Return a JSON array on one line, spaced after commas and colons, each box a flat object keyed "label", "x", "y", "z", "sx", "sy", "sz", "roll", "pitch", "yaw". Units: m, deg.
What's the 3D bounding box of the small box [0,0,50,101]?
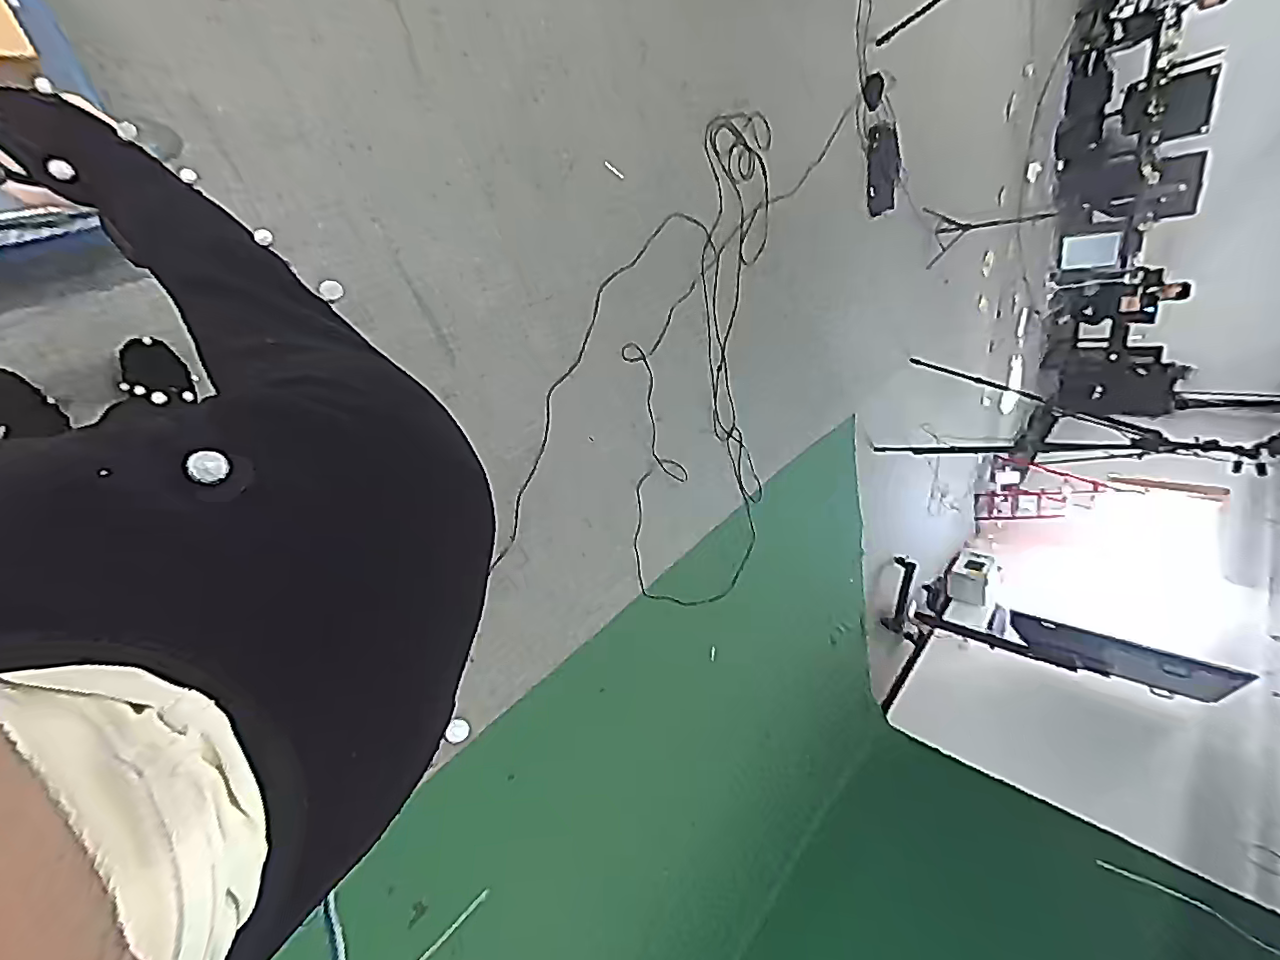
[{"label": "small box", "x": -1.024, "y": -0.679, "z": 0.786, "sx": 0.168, "sy": 0.176, "sz": 0.179, "roll": -34, "pitch": 122, "yaw": -34}]
